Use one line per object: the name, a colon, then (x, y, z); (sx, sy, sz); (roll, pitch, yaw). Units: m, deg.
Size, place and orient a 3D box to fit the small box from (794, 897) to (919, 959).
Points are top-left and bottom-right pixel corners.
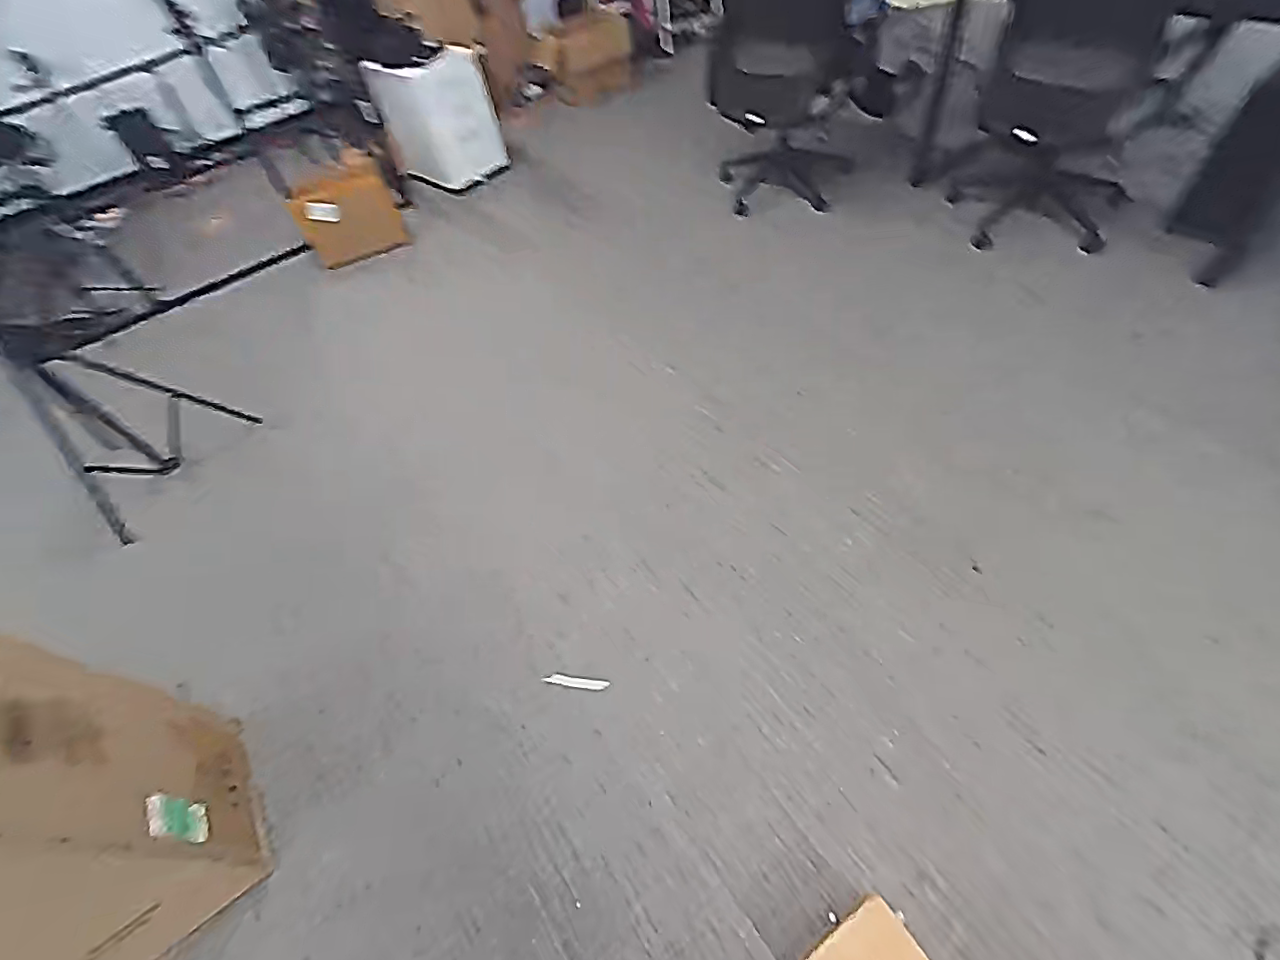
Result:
small box: (0.367, 0.820, 0.871); (0.168, 0.176, 0.179); (-30, 52, -13)
